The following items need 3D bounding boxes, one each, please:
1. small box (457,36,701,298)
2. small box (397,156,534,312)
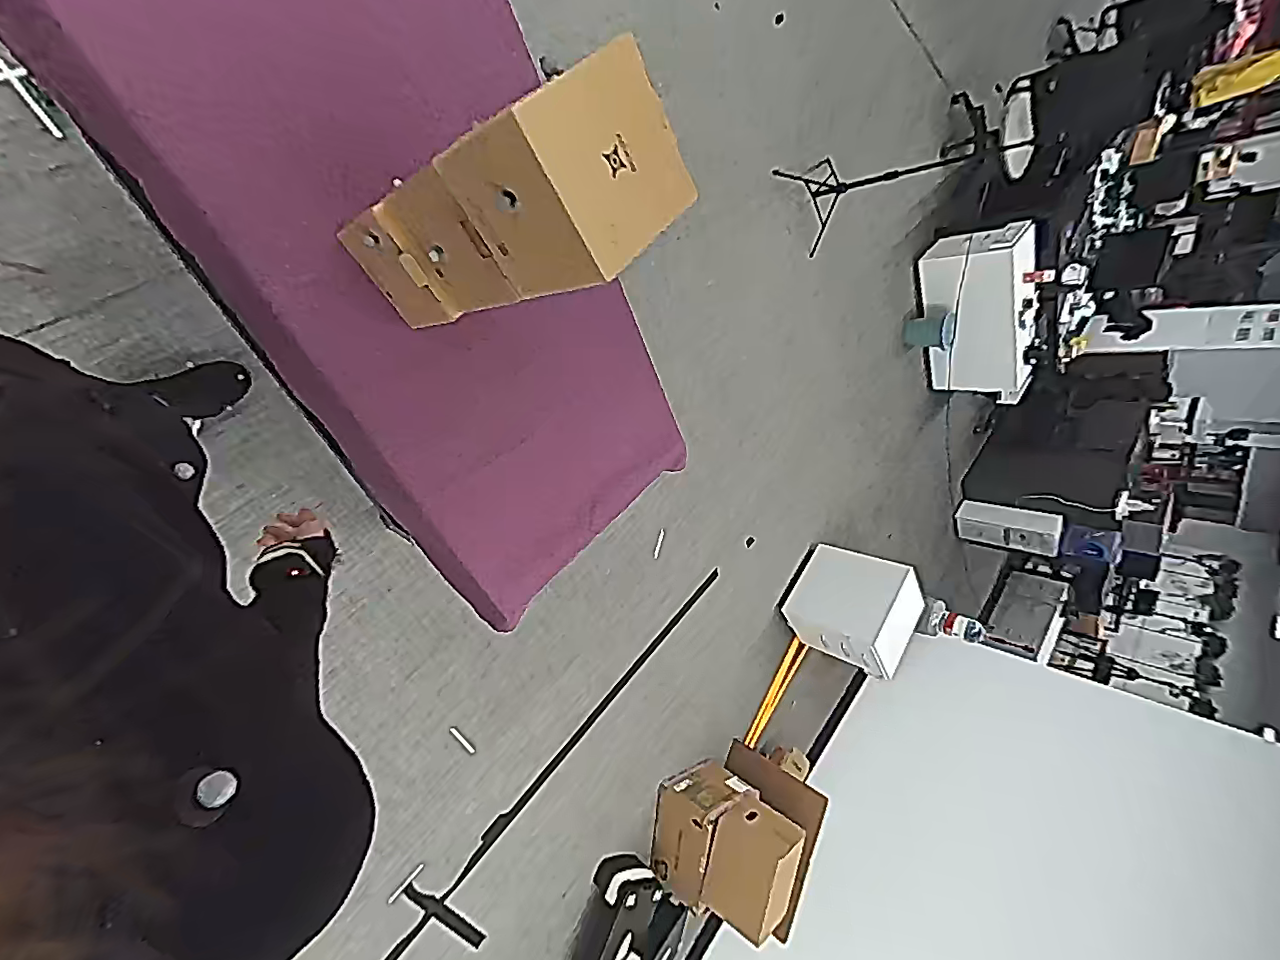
[{"bbox_3d":[-0.071,-0.320,0.587,0.179,0.176,0.168,-53,128,-24],"label":"small box"},{"bbox_3d":[-0.178,-0.342,0.708,0.179,0.176,0.168,-49,126,-25],"label":"small box"}]
